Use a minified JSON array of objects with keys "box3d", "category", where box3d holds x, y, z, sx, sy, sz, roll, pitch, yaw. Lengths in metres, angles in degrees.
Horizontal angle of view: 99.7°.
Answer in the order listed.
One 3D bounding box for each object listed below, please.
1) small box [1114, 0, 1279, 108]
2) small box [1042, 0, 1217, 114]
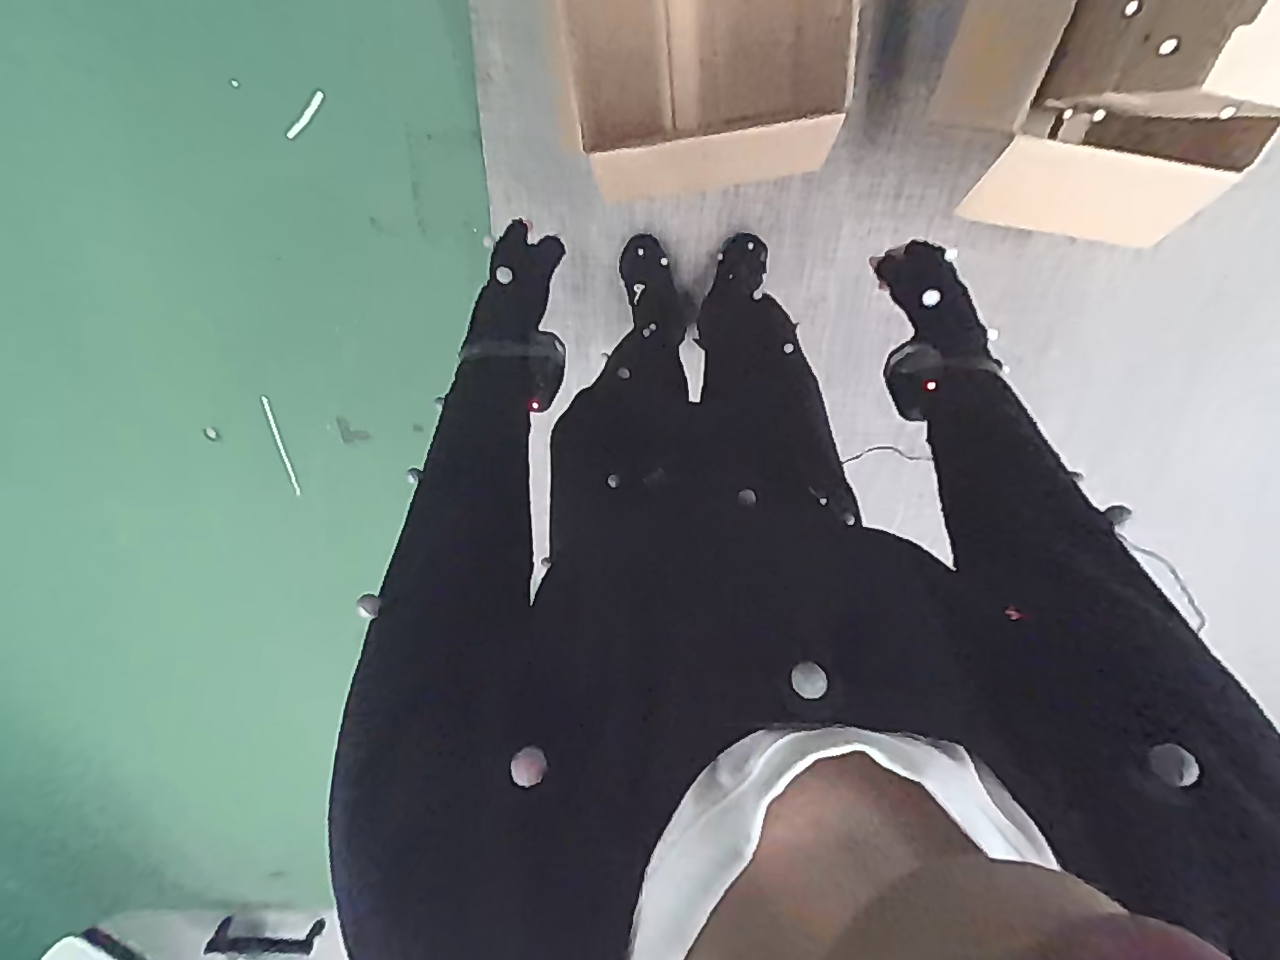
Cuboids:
[{"box3d":[0.761,-0.570,0.668,0.179,0.176,0.168,7,126,-3],"category":"small box"},{"box3d":[0.765,-0.658,0.805,0.179,0.176,0.168,7,123,-3],"category":"small box"}]
